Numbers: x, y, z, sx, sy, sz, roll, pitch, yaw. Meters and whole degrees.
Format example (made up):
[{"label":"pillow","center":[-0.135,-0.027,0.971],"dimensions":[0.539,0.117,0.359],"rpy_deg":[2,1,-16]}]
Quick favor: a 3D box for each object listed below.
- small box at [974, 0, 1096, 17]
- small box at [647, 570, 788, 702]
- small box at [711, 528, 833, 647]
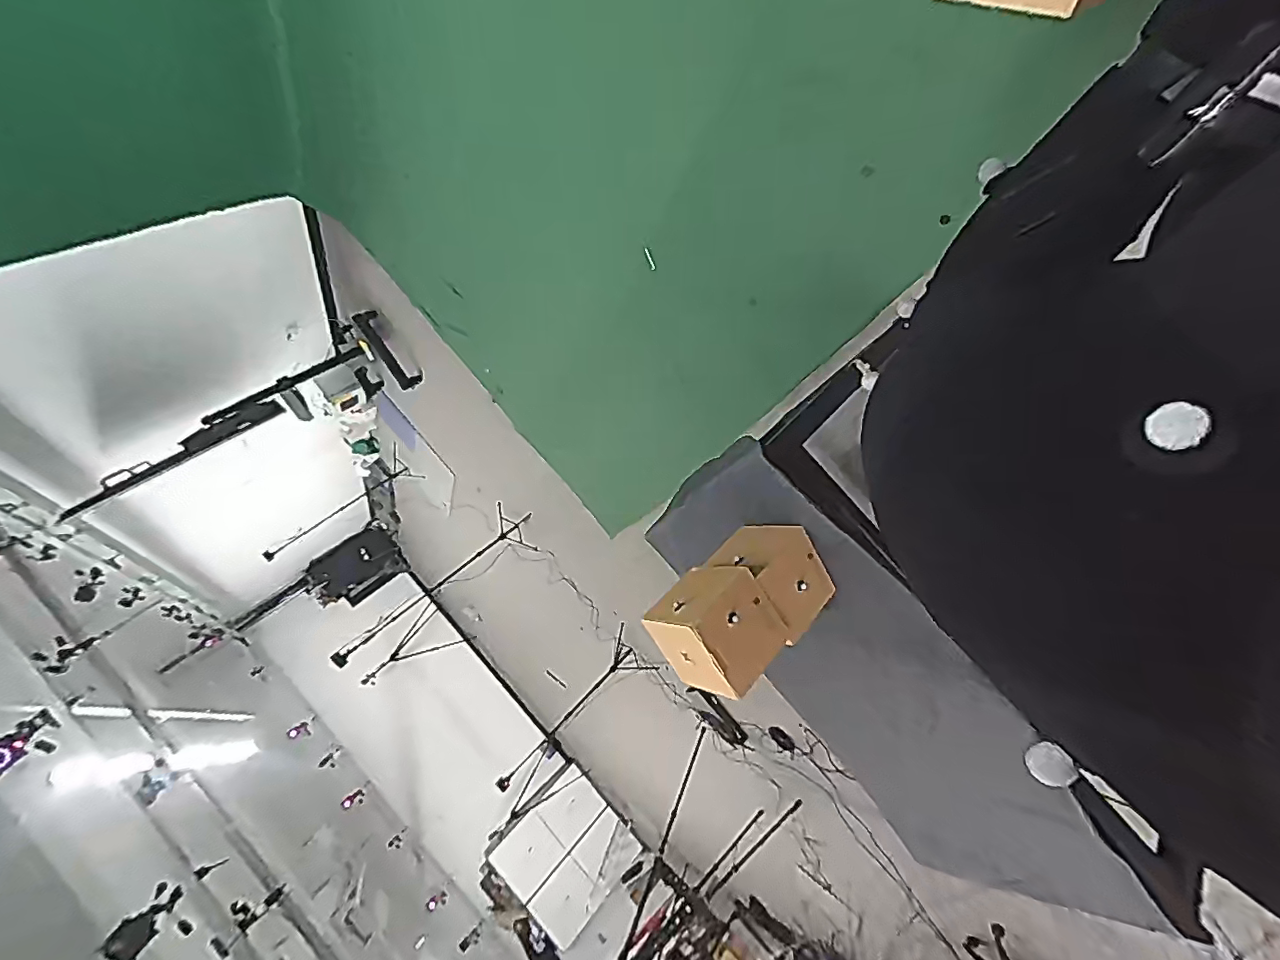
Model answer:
[{"label":"small box","center":[0.503,-0.686,0.653],"dimensions":[0.179,0.176,0.168],"rpy_deg":[35,146,24]},{"label":"small box","center":[0.153,0.284,1.023],"dimensions":[0.168,0.176,0.179],"rpy_deg":[57,151,-9]},{"label":"small box","center":[0.270,0.212,1.112],"dimensions":[0.179,0.176,0.168],"rpy_deg":[-8,116,57]}]
